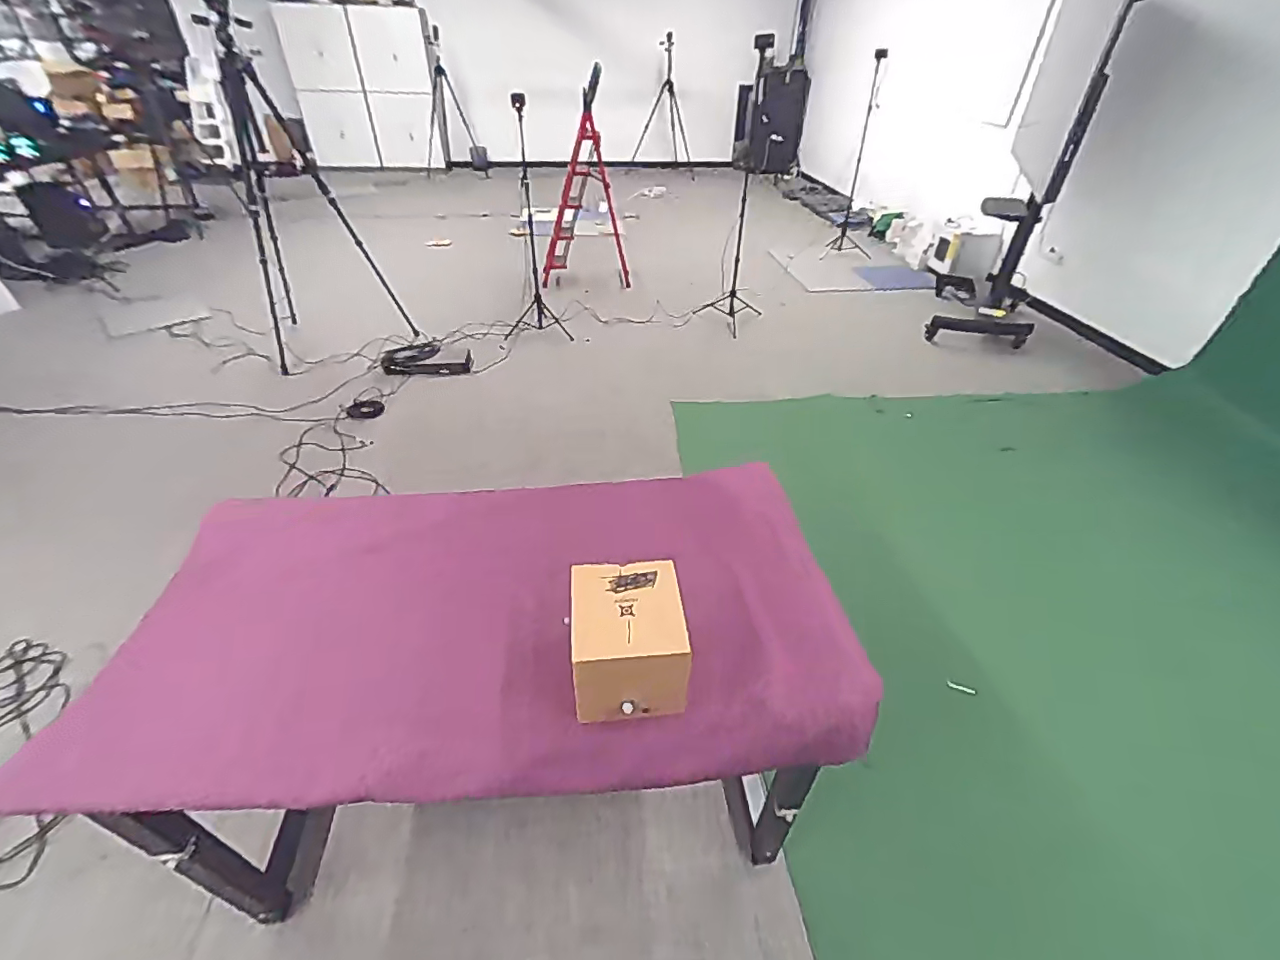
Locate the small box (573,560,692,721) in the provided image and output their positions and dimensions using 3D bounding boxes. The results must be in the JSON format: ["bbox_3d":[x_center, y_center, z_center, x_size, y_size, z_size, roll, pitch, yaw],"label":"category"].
[{"bbox_3d":[-0.019,0.249,0.848,0.168,0.176,0.179,-3,39,-5],"label":"small box"}]
